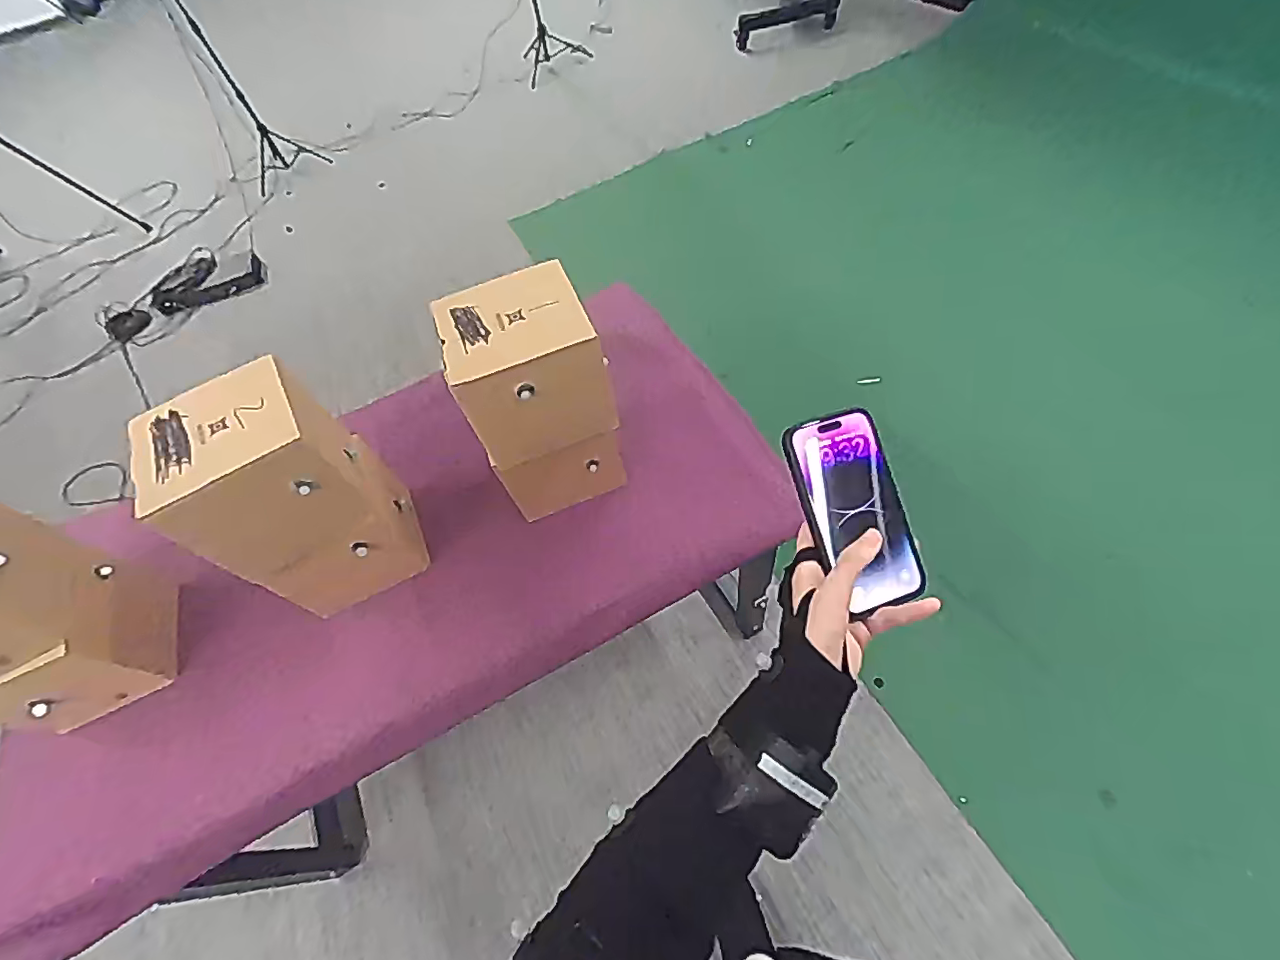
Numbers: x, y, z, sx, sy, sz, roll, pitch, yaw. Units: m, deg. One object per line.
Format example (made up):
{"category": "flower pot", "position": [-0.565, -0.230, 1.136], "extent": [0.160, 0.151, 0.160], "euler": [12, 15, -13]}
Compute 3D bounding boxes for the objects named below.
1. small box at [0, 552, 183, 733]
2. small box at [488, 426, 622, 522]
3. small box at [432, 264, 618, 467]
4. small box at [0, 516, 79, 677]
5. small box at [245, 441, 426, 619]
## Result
{"category": "small box", "position": [-0.798, 0.239, 0.769], "extent": [0.168, 0.176, 0.179], "euler": [-26, 57, -8]}
{"category": "small box", "position": [-0.136, -0.061, 0.853], "extent": [0.179, 0.176, 0.168], "euler": [-22, 56, -4]}
{"category": "small box", "position": [-0.145, -0.143, 0.711], "extent": [0.179, 0.176, 0.168], "euler": [-21, 56, -5]}
{"category": "small box", "position": [-0.825, 0.143, 0.637], "extent": [0.168, 0.176, 0.179], "euler": [-30, 58, -11]}
{"category": "small box", "position": [-0.444, 0.079, 0.811], "extent": [0.179, 0.176, 0.168], "euler": [-27, 57, -8]}
